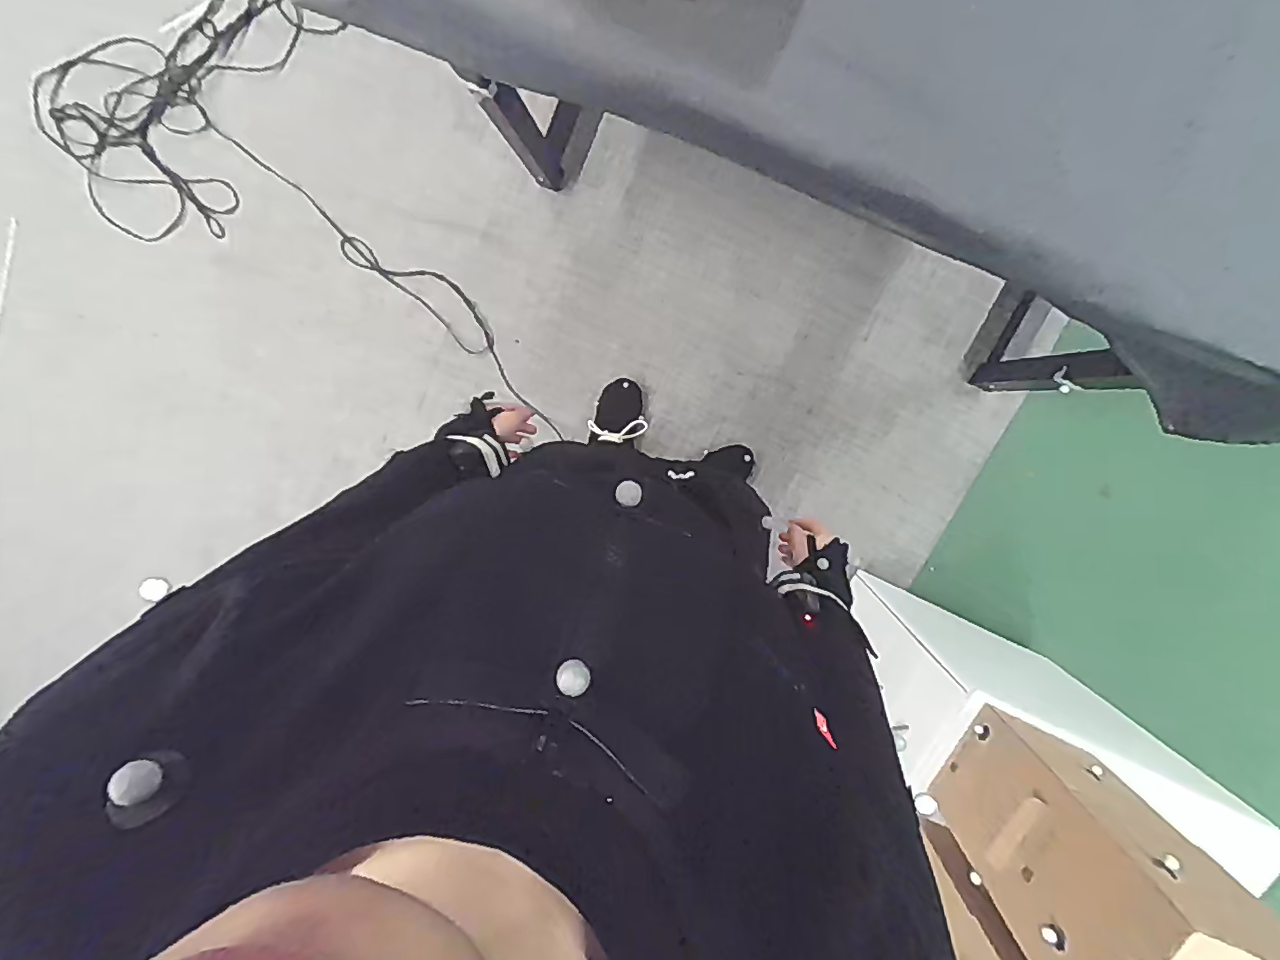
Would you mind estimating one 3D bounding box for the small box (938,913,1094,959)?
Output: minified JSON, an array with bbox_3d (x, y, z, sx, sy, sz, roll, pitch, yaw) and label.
[{"bbox_3d":[0.438,0.630,0.590,0.179,0.176,0.168,22,100,0],"label":"small box"}]
